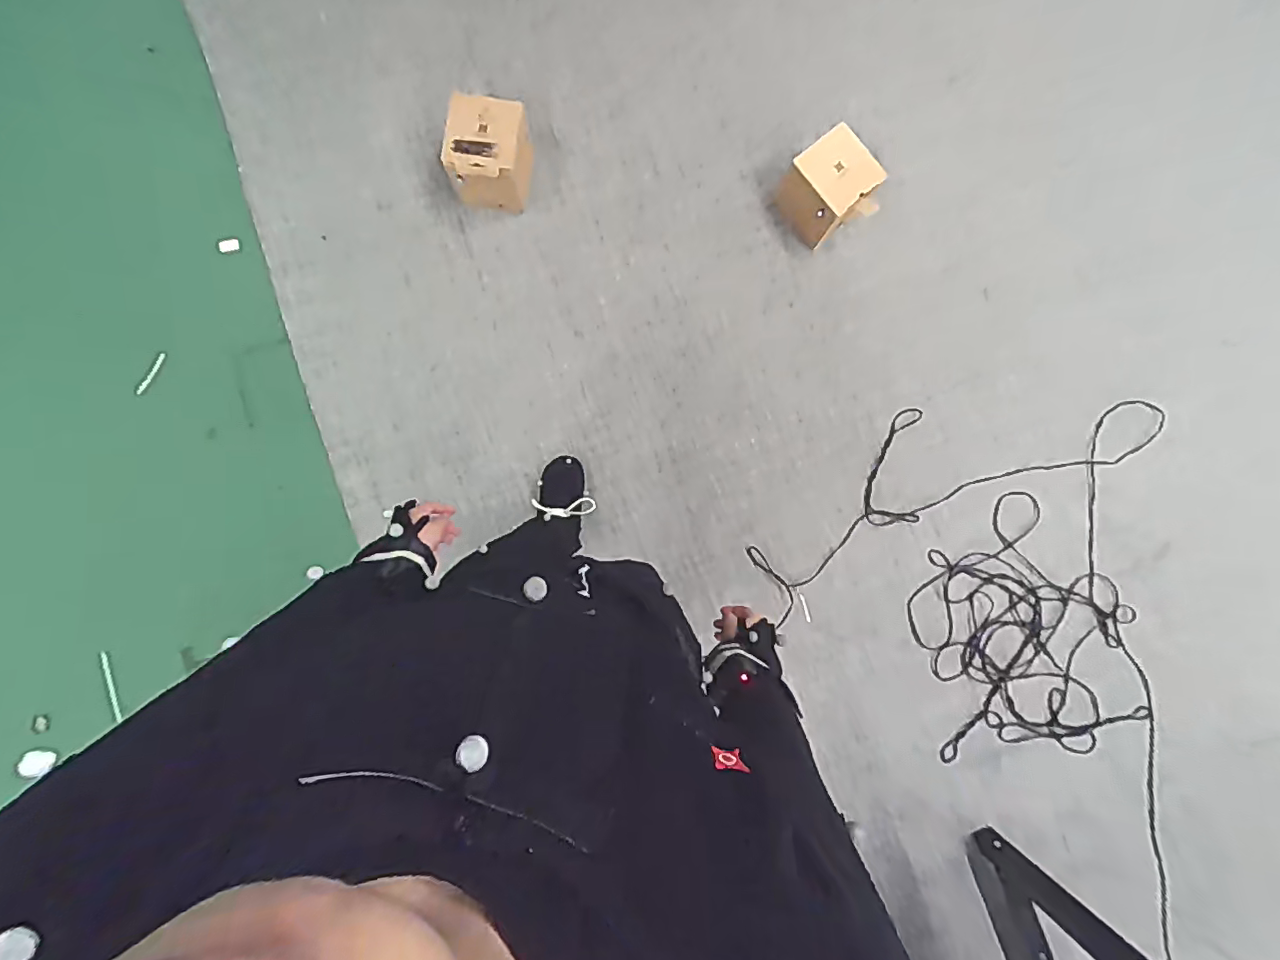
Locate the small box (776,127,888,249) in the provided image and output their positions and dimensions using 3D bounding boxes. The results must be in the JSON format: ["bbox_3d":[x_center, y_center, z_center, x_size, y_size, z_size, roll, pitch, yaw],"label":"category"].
[{"bbox_3d":[0.472,-0.725,1.363,0.168,0.176,0.179,-40,90,-4],"label":"small box"}]
